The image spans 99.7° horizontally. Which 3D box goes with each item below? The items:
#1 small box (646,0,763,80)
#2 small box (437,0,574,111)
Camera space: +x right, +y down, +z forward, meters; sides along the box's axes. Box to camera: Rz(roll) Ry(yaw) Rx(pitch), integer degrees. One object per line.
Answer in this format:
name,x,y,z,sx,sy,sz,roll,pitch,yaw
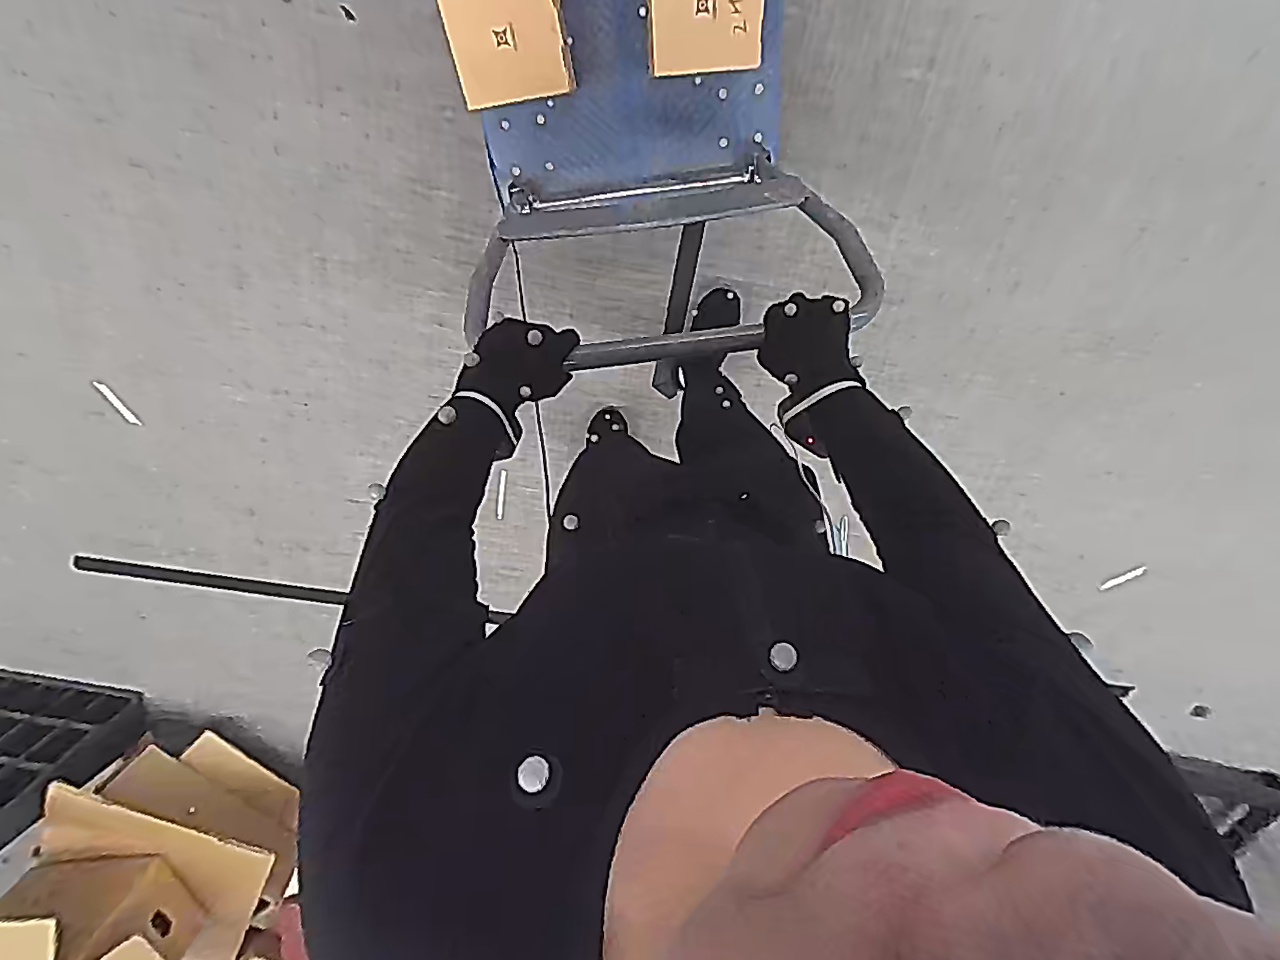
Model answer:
small box,0.100,-0.767,0.892,0.179,0.176,0.168,-4,127,0
small box,-0.215,-0.730,0.907,0.179,0.176,0.168,-9,126,2
